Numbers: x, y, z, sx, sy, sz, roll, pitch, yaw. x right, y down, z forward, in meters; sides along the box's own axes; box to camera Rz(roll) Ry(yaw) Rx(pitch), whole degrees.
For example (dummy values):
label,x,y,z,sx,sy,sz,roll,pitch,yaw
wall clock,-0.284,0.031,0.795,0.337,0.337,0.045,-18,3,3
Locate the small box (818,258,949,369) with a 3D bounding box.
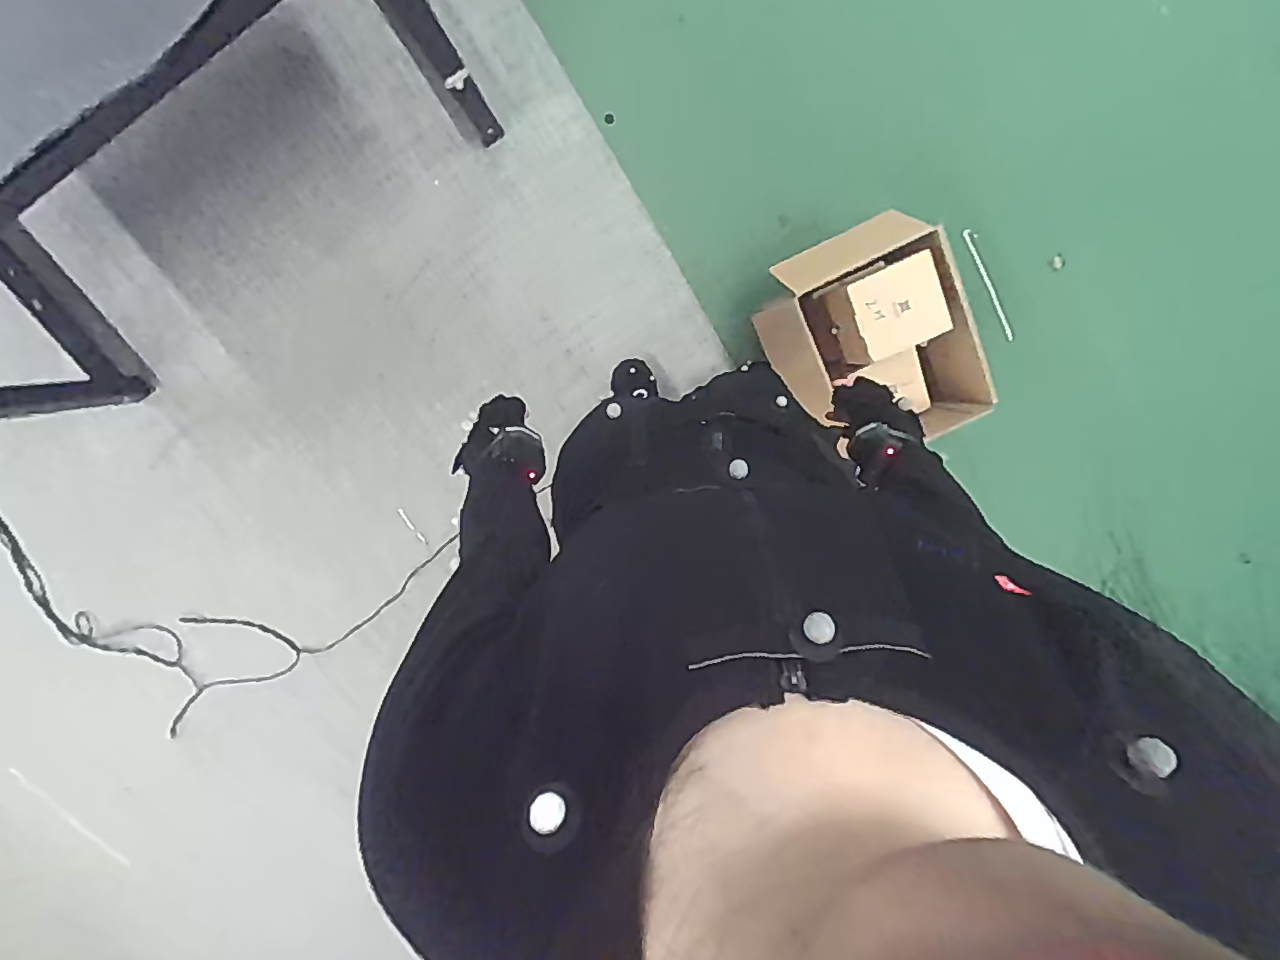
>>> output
label,x,y,z,sx,sy,sz,roll,pitch,yaw
small box,0.511,-0.348,1.154,0.179,0.176,0.168,-23,101,4
